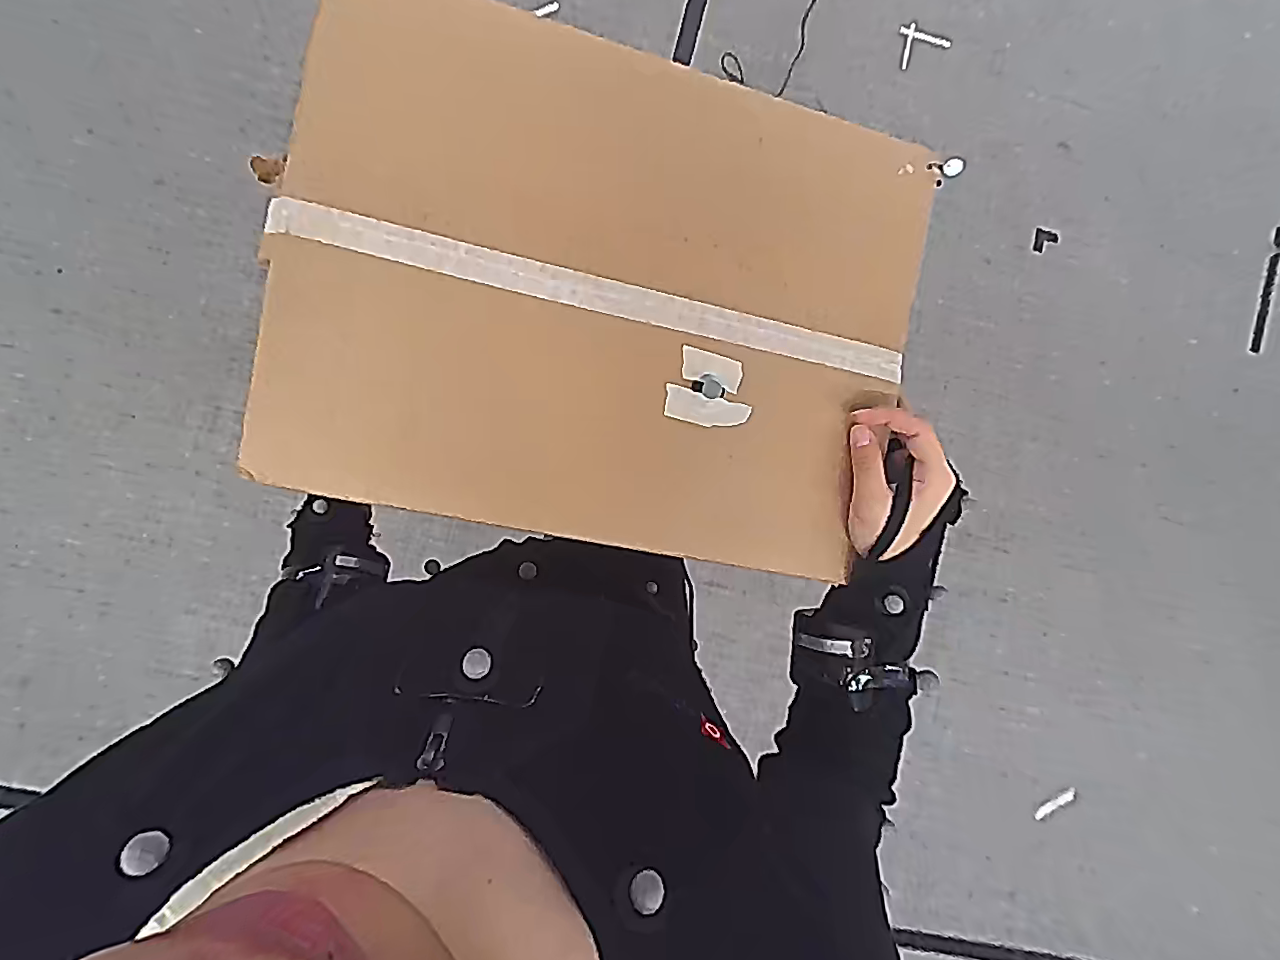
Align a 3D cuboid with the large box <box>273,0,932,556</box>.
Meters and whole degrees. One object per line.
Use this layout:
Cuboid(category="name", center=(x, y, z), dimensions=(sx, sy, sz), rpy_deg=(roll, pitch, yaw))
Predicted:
Cuboid(category="large box", center=(-0.033, -0.133, 0.503), dimensions=(0.408, 0.320, 0.320), rpy_deg=(11, 92, -12))
